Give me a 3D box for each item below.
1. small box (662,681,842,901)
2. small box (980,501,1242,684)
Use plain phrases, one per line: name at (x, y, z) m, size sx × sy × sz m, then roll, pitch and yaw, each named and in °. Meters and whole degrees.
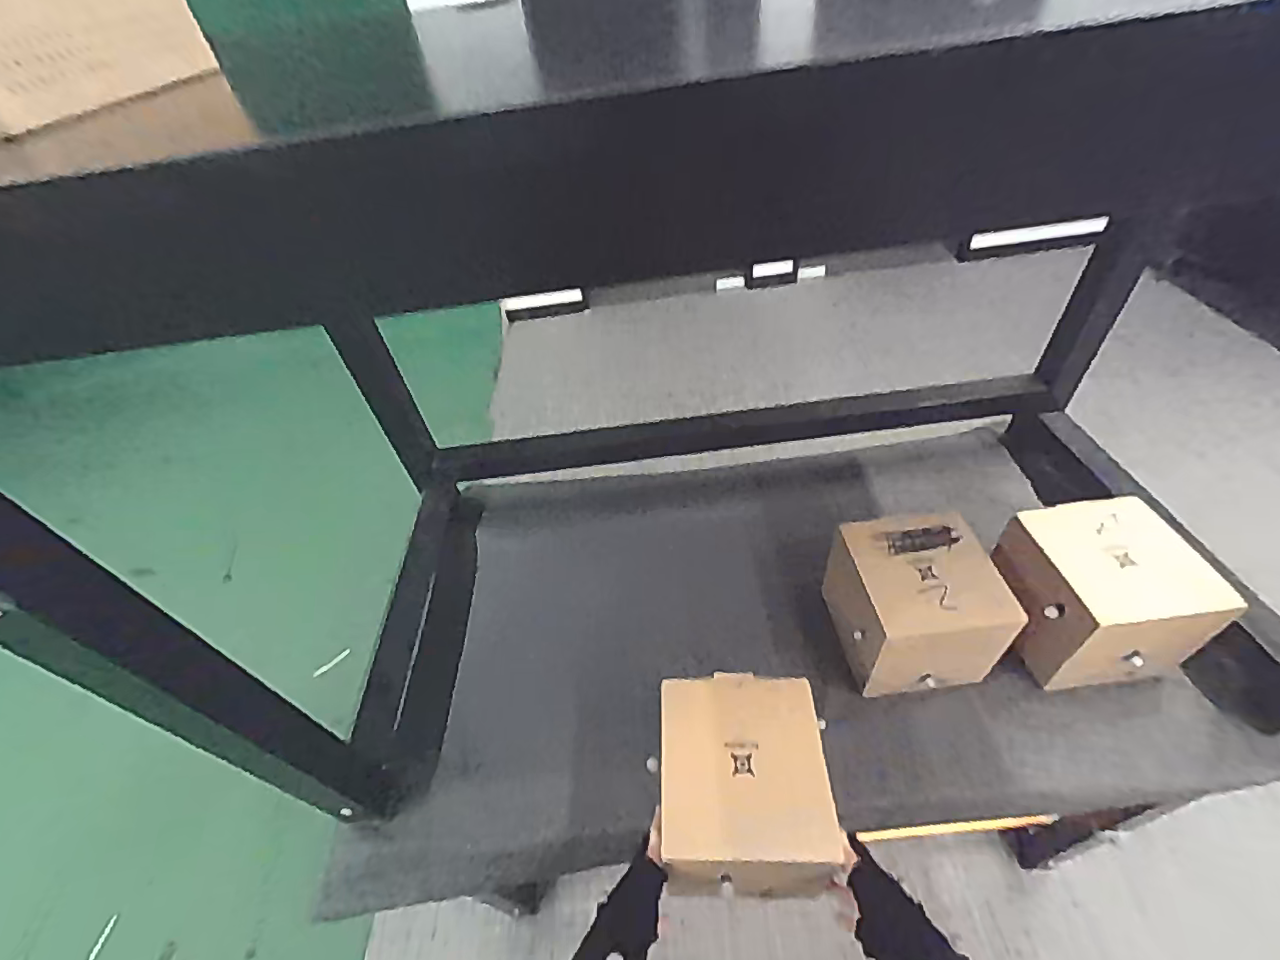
small box at (0.113, 0.346, 0.603) m, size 0.168 × 0.176 × 0.179 m, roll -2°, pitch 42°, yaw 5°
small box at (0.599, 0.155, 0.721) m, size 0.168 × 0.176 × 0.179 m, roll -8°, pitch 44°, yaw 1°
